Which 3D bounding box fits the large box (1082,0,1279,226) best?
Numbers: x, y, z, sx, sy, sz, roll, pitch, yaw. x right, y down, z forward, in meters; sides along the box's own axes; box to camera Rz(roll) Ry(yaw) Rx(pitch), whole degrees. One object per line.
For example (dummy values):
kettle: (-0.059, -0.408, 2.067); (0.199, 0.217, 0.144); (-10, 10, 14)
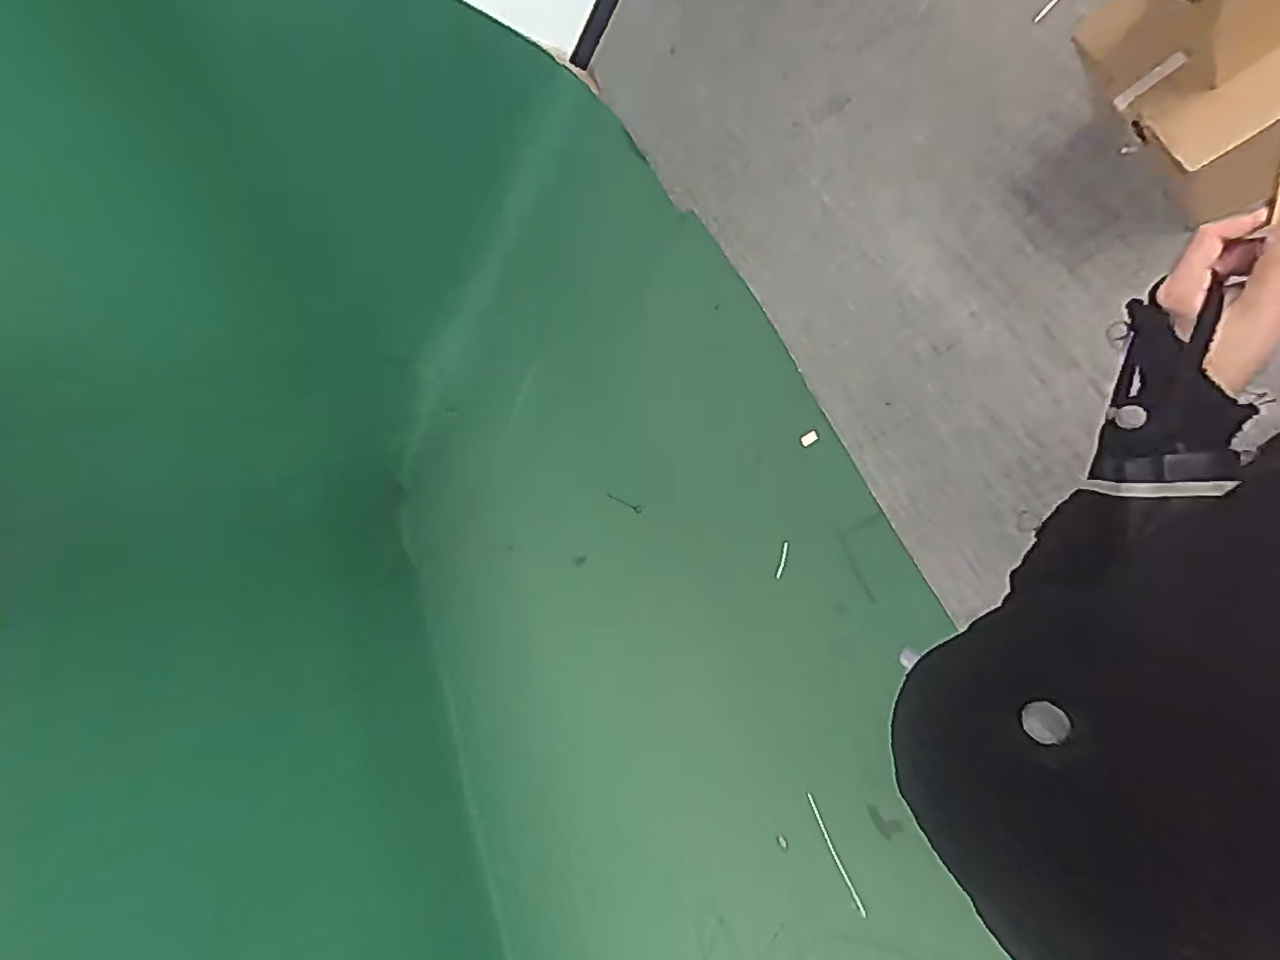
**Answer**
large box: (0.960, -0.659, 0.766); (0.408, 0.320, 0.320); (-36, 67, 42)
